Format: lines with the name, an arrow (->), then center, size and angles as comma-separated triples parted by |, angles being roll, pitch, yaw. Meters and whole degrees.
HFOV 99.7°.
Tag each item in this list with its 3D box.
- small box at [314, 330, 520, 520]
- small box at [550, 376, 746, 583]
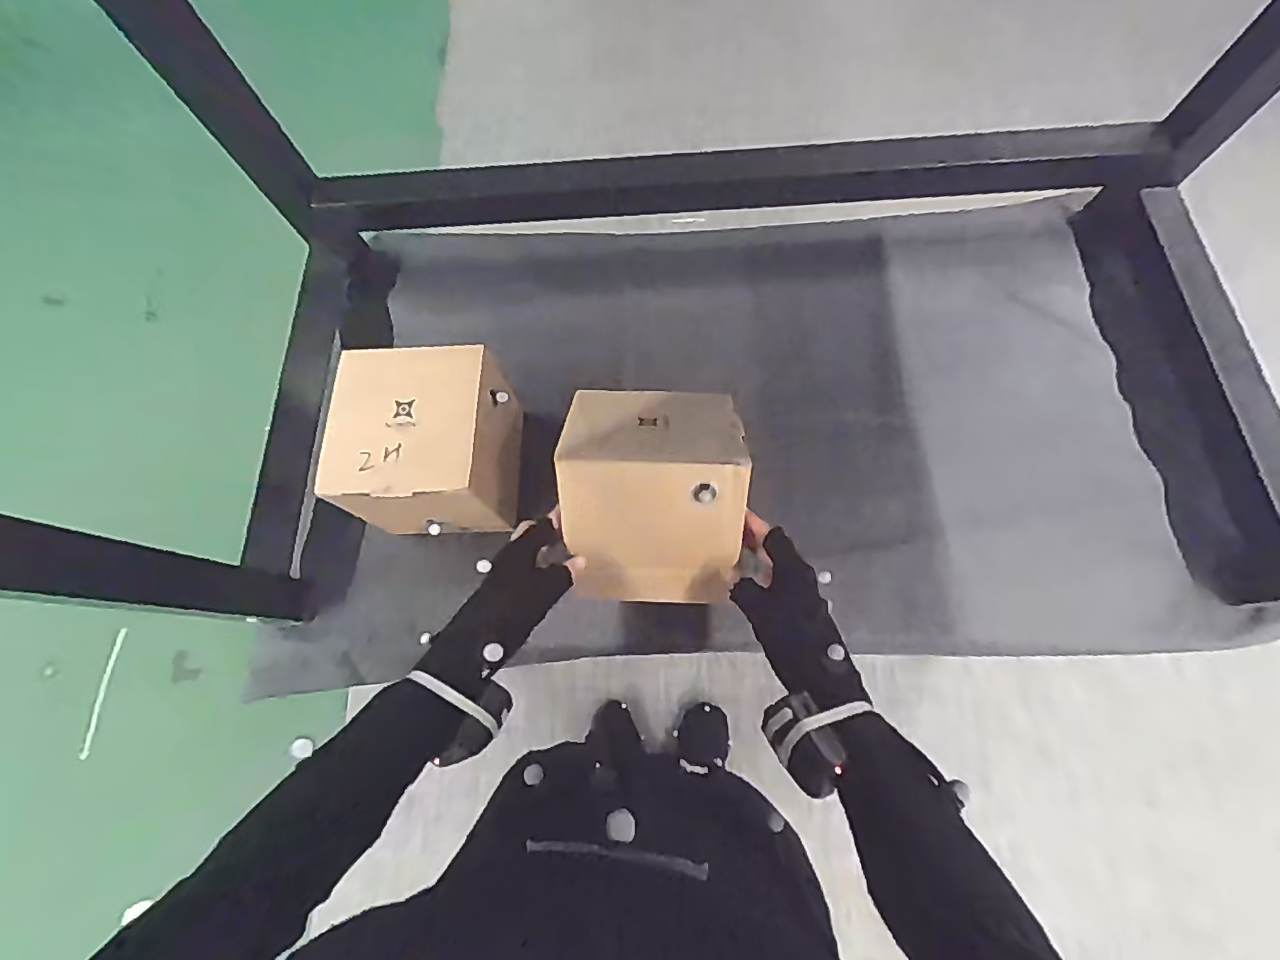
small box -> -0.250, -0.058, 0.654 | 0.168, 0.176, 0.179 | -2, 71, 4
small box -> 0.008, -0.005, 0.578 | 0.179, 0.176, 0.168 | 2, 28, 0
